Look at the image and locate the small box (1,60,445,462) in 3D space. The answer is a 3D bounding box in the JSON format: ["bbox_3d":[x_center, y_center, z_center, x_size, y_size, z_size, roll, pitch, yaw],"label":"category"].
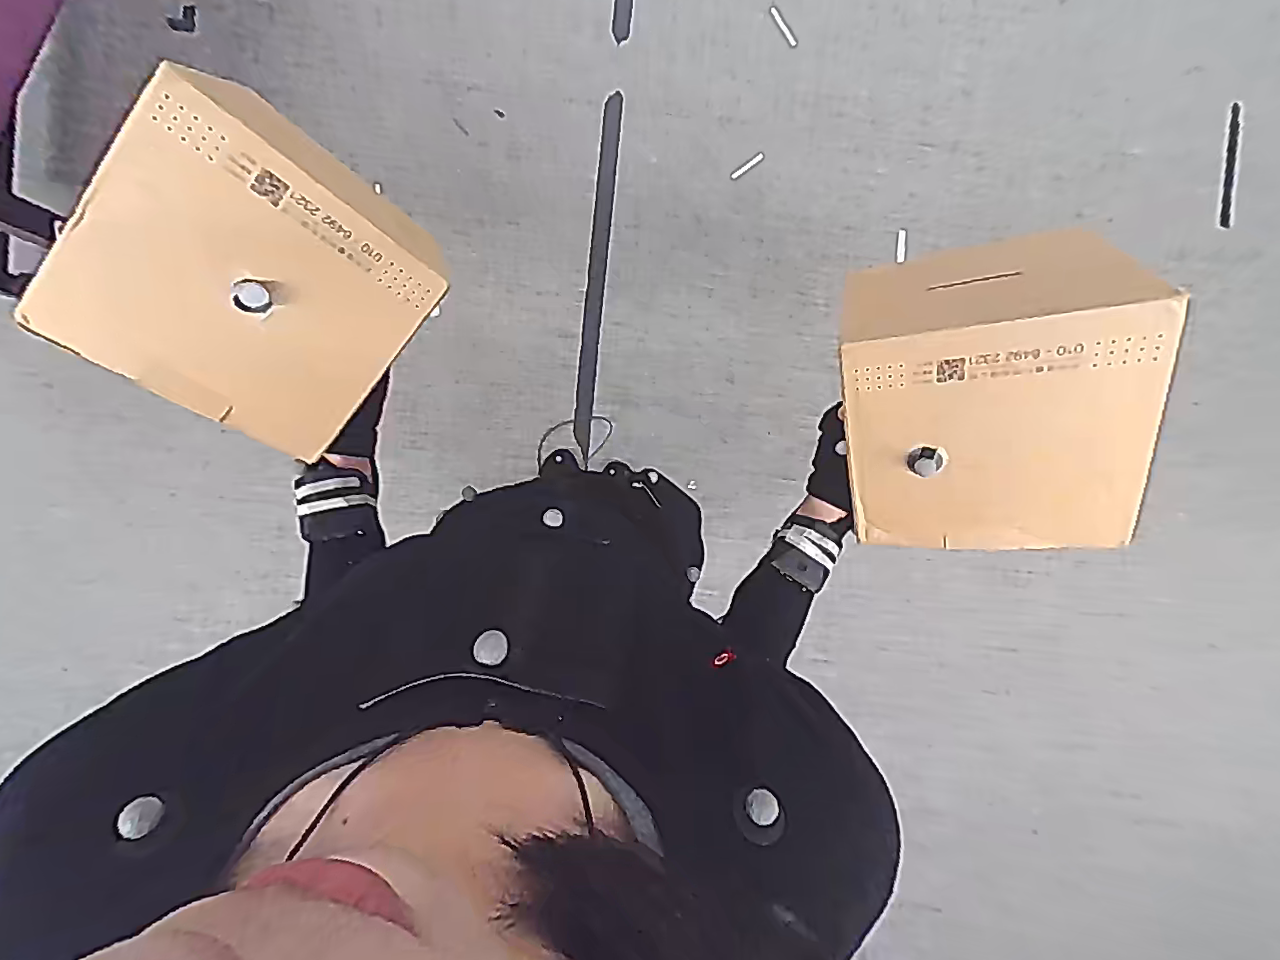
[{"bbox_3d":[-0.256,-0.149,0.380,0.168,0.179,0.176,35,101,-33],"label":"small box"}]

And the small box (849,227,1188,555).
[{"bbox_3d":[0.246,-0.065,0.393,0.168,0.179,0.176,-1,124,24],"label":"small box"}]
